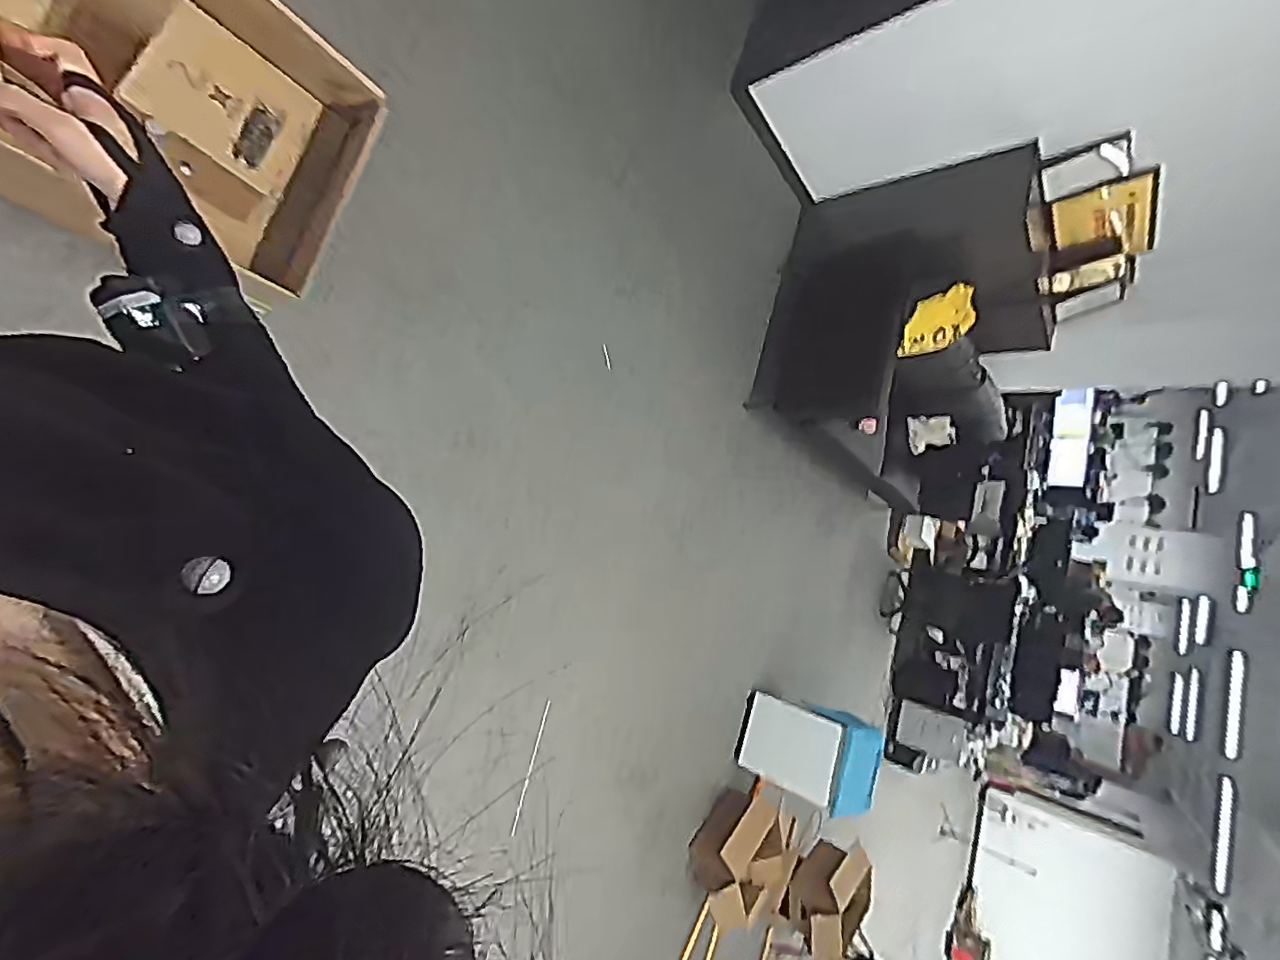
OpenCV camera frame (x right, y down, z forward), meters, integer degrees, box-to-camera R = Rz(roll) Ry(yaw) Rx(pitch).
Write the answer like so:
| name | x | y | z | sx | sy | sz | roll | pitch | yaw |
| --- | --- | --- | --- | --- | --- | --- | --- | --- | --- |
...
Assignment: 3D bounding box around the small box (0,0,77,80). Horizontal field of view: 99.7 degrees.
| name | x | y | z | sx | sy | sz | roll | pitch | yaw |
| --- | --- | --- | --- | --- | --- | --- | --- | --- | --- |
| small box | -0.773 | -0.619 | 0.617 | 0.168 | 0.176 | 0.179 | 23 | 78 | -47 |
